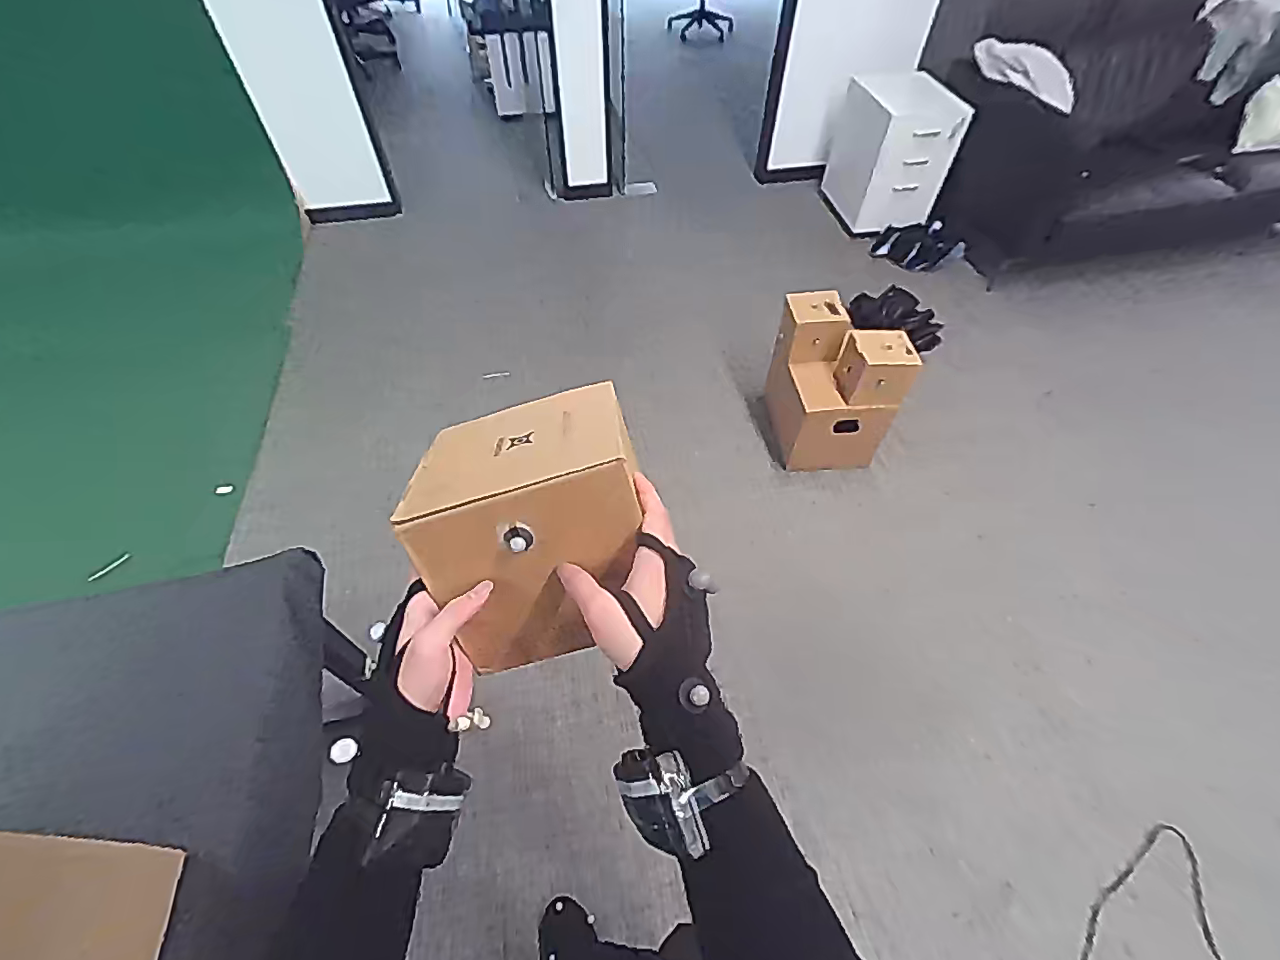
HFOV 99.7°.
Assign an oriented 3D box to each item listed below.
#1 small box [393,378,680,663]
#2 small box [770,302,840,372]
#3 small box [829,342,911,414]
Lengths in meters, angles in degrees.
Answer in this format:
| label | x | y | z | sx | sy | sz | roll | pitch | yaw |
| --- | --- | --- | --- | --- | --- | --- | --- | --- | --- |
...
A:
| label | x | y | z | sx | sy | sz | roll | pitch | yaw |
| --- | --- | --- | --- | --- | --- | --- | --- | --- | --- |
| small box | -0.076 | 0.033 | 0.475 | 0.179 | 0.176 | 0.168 | -15 | 29 | 0 |
| small box | 0.562 | -0.490 | 1.862 | 0.179 | 0.176 | 0.168 | -3 | 52 | -1 |
| small box | 0.727 | -0.327 | 1.738 | 0.179 | 0.176 | 0.168 | -1 | 51 | -5 |
